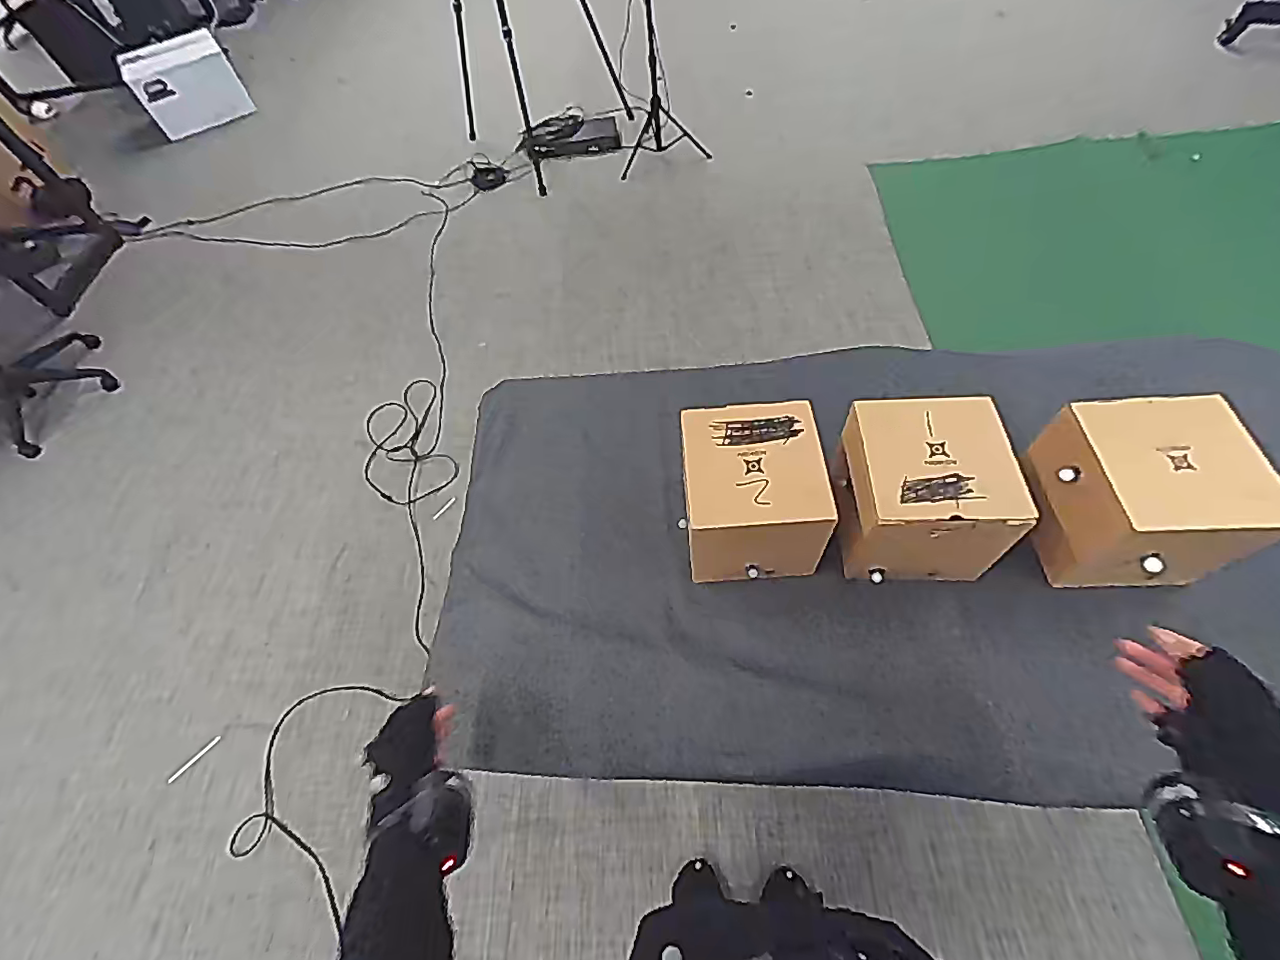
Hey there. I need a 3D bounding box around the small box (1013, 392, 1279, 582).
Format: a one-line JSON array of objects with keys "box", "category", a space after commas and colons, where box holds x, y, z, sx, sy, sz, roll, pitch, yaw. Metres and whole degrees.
[{"box": [0.599, 0.018, 0.654, 0.168, 0.176, 0.179, -3, 57, 6], "category": "small box"}]
